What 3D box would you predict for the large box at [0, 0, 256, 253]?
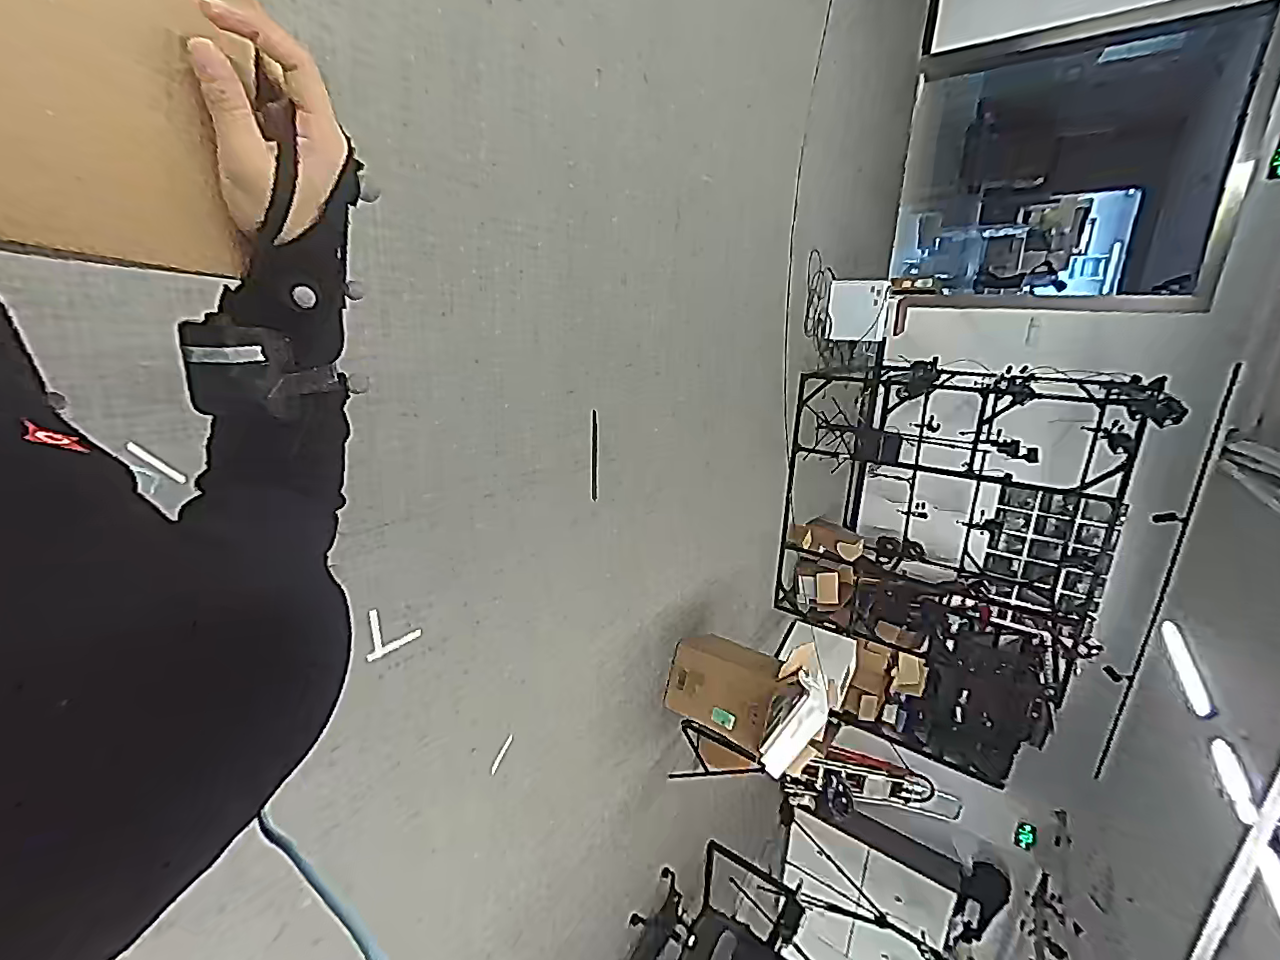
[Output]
[{"bbox_3d":[-0.442,-0.287,0.192,0.408,0.320,0.320,-16,118,-59],"label":"large box"}]
